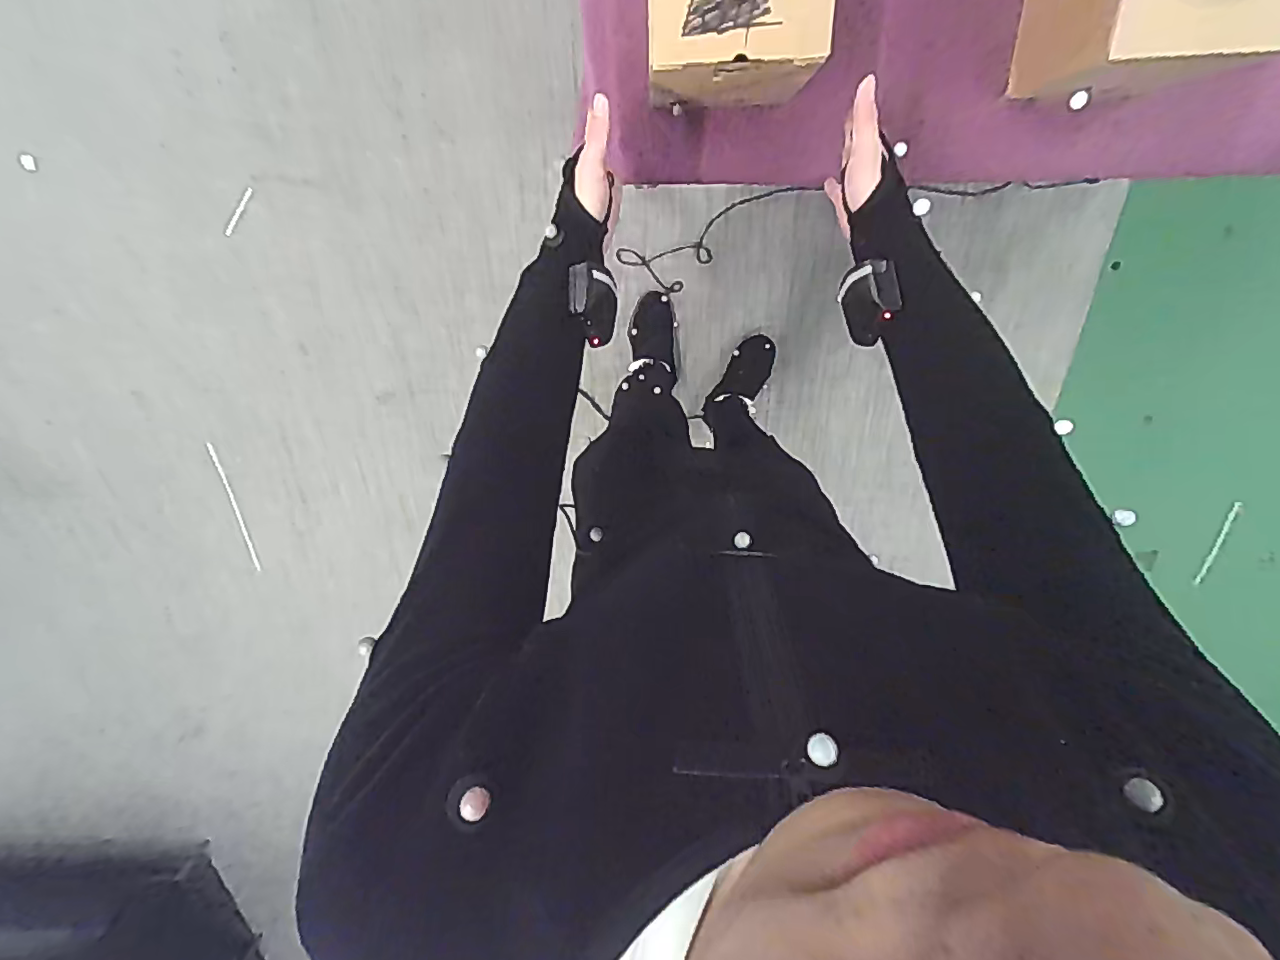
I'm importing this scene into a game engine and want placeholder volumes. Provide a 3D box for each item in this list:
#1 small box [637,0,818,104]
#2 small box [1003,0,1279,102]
[{"bbox_3d":[0.082,-0.499,0.547,0.168,0.176,0.179,-1,114,2],"label":"small box"},{"bbox_3d":[0.499,-0.498,0.532,0.168,0.176,0.179,0,115,3],"label":"small box"}]
